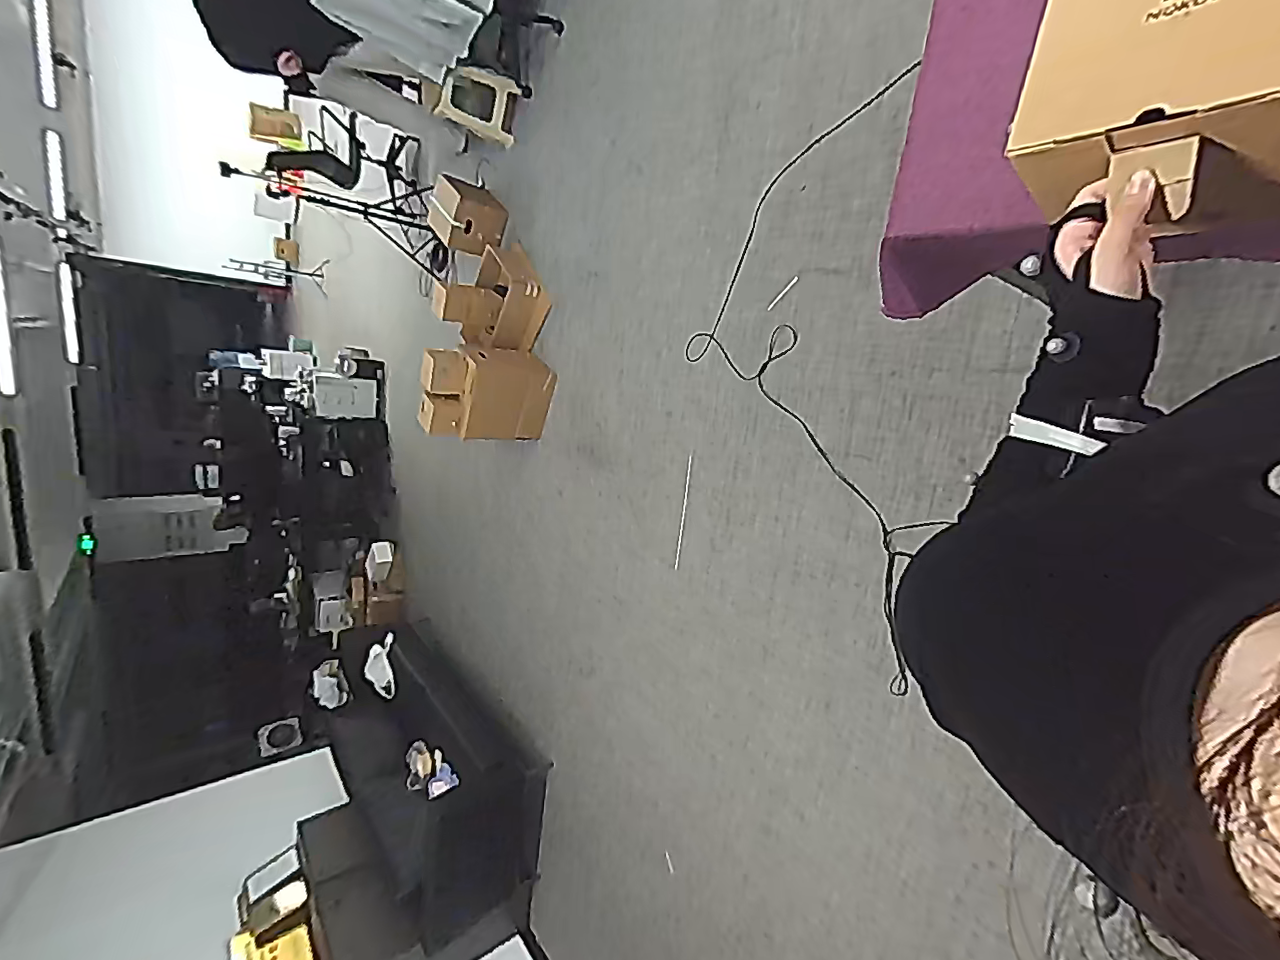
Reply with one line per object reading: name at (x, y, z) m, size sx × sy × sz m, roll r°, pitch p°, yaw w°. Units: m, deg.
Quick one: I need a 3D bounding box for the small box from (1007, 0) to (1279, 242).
small box at (0.418, -0.308, 0.409) m, size 0.168 × 0.176 × 0.179 m, roll 19°, pitch 98°, yaw 50°
